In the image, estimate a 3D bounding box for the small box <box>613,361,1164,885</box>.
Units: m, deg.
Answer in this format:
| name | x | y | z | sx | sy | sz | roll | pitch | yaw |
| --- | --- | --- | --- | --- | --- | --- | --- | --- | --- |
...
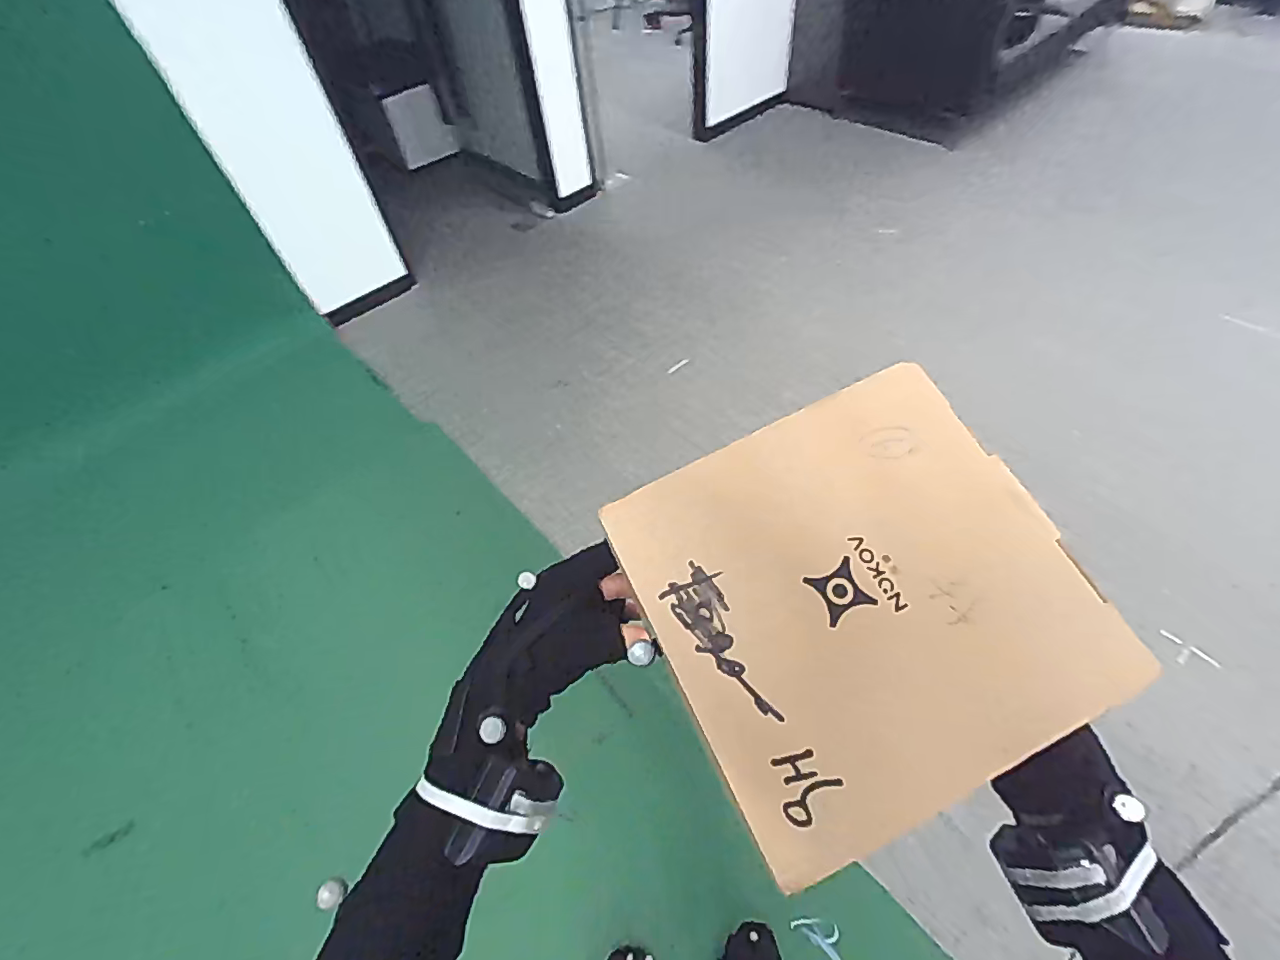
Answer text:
| name | x | y | z | sx | sy | sz | roll | pitch | yaw |
| --- | --- | --- | --- | --- | --- | --- | --- | --- | --- |
| small box | 0.099 | 0.071 | 0.303 | 0.179 | 0.176 | 0.168 | -25 | 69 | -7 |
